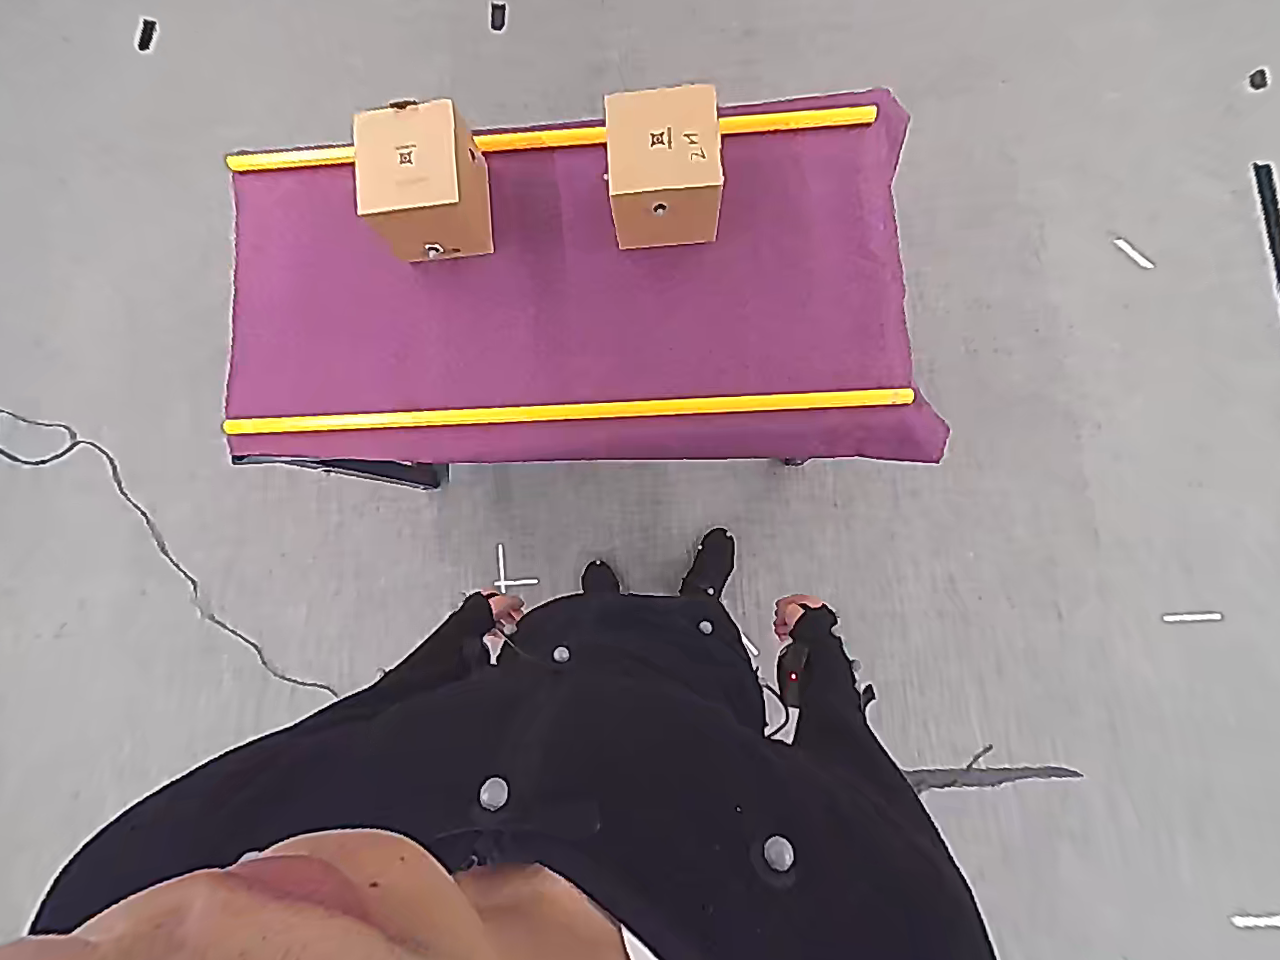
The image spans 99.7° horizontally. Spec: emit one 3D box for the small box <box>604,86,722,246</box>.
[{"bbox_3d":[0.040,-0.510,0.903,0.179,0.176,0.168,-3,85,3],"label":"small box"}]

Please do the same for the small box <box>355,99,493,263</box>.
[{"bbox_3d":[-0.361,-0.501,0.926,0.168,0.176,0.179,-6,85,3],"label":"small box"}]
